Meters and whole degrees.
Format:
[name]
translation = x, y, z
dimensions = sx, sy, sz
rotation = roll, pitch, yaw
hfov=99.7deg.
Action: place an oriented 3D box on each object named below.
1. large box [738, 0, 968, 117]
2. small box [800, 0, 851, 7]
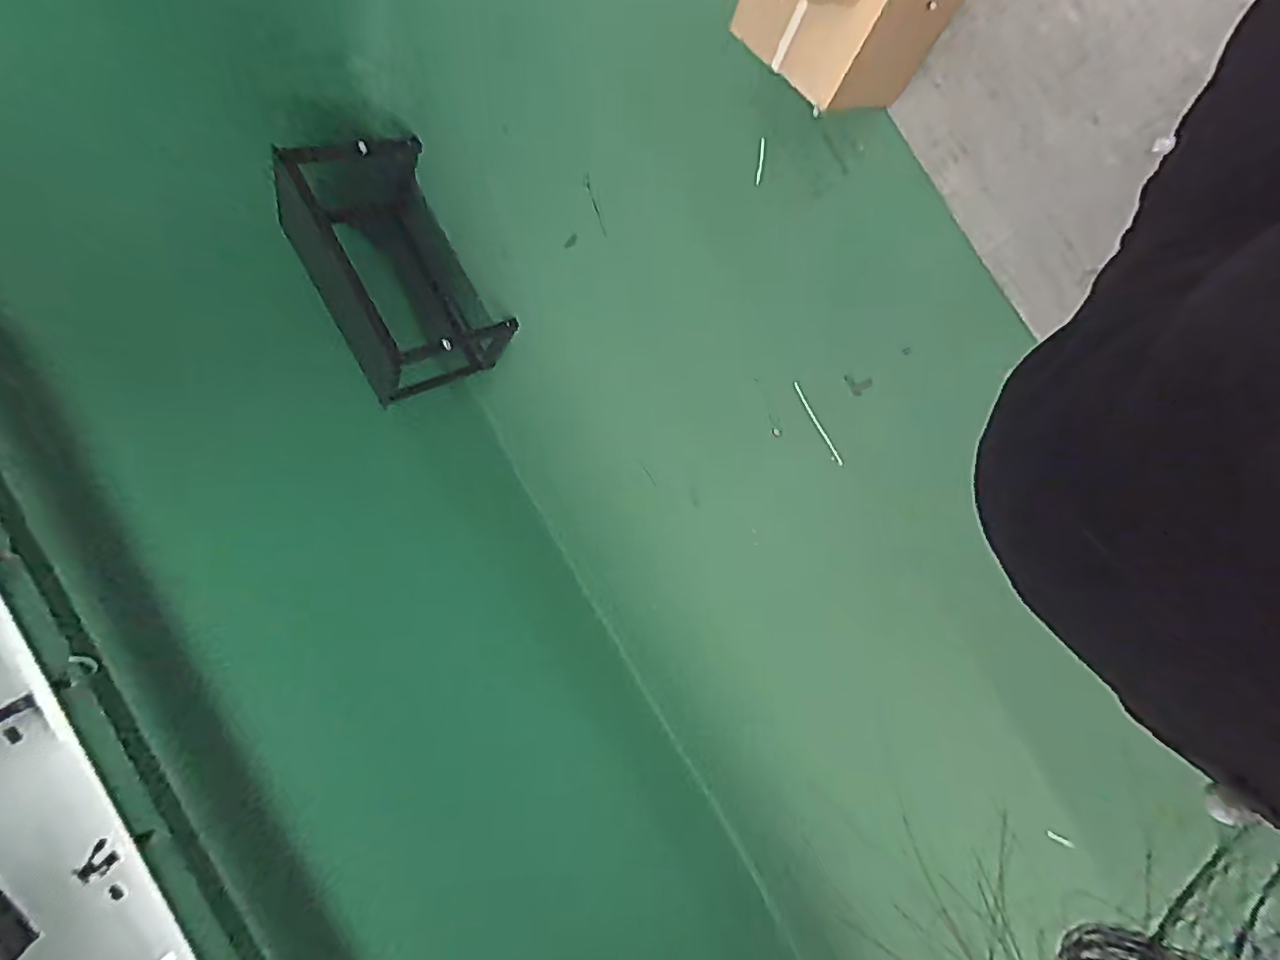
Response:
[large box]
translation = 0.476, -1.038, 1.089
dimensions = 0.320, 0.320, 0.408
rotation = 53, 148, 15
[small box]
translation = 0.318, -0.950, 0.920
dimensions = 0.179, 0.176, 0.168
rotation = 52, 146, 13
